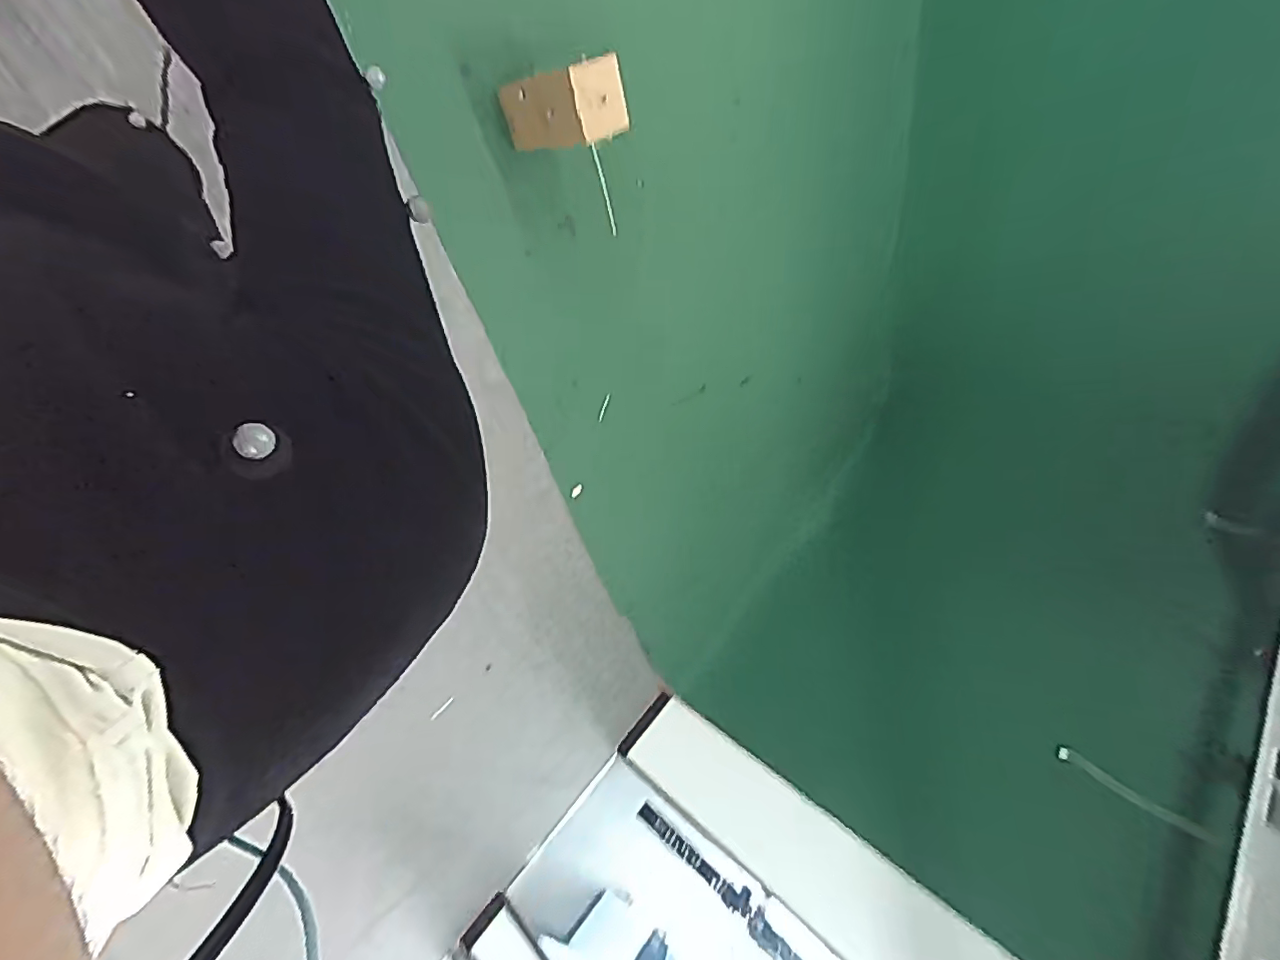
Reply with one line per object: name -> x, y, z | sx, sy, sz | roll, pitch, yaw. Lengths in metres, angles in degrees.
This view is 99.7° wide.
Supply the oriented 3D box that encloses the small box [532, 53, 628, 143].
small box -> -0.163, -1.042, 1.479 | 0.179, 0.176, 0.168 | -41, 135, -27
